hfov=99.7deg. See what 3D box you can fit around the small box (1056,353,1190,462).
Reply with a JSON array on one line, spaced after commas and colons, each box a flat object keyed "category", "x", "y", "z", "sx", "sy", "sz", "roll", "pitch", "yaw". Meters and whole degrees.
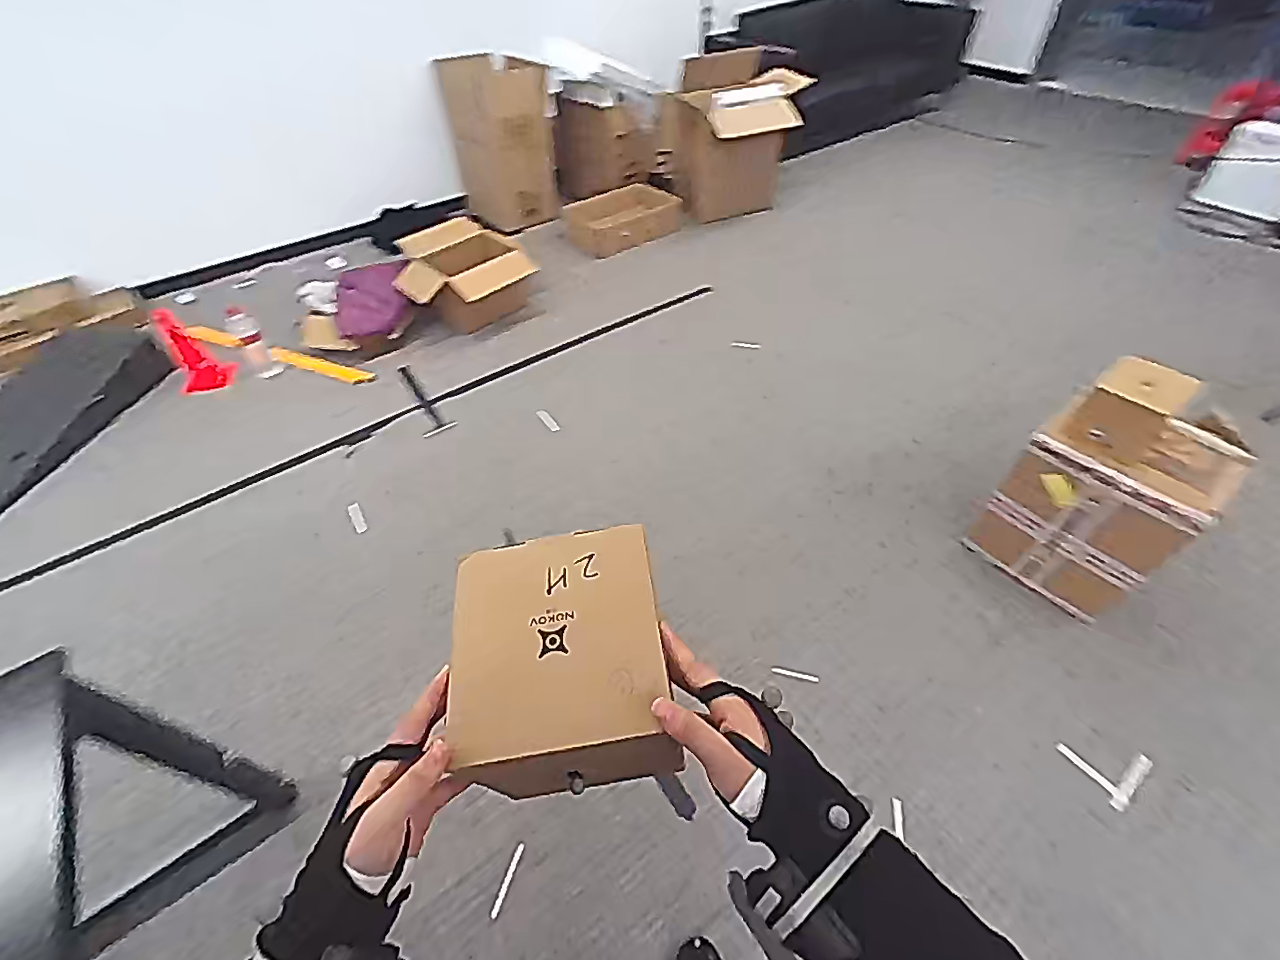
[{"category": "small box", "x": 1.195, "y": -0.180, "z": 1.353, "sx": 0.179, "sy": 0.176, "sz": 0.168, "roll": -36, "pitch": 54, "yaw": -21}]
